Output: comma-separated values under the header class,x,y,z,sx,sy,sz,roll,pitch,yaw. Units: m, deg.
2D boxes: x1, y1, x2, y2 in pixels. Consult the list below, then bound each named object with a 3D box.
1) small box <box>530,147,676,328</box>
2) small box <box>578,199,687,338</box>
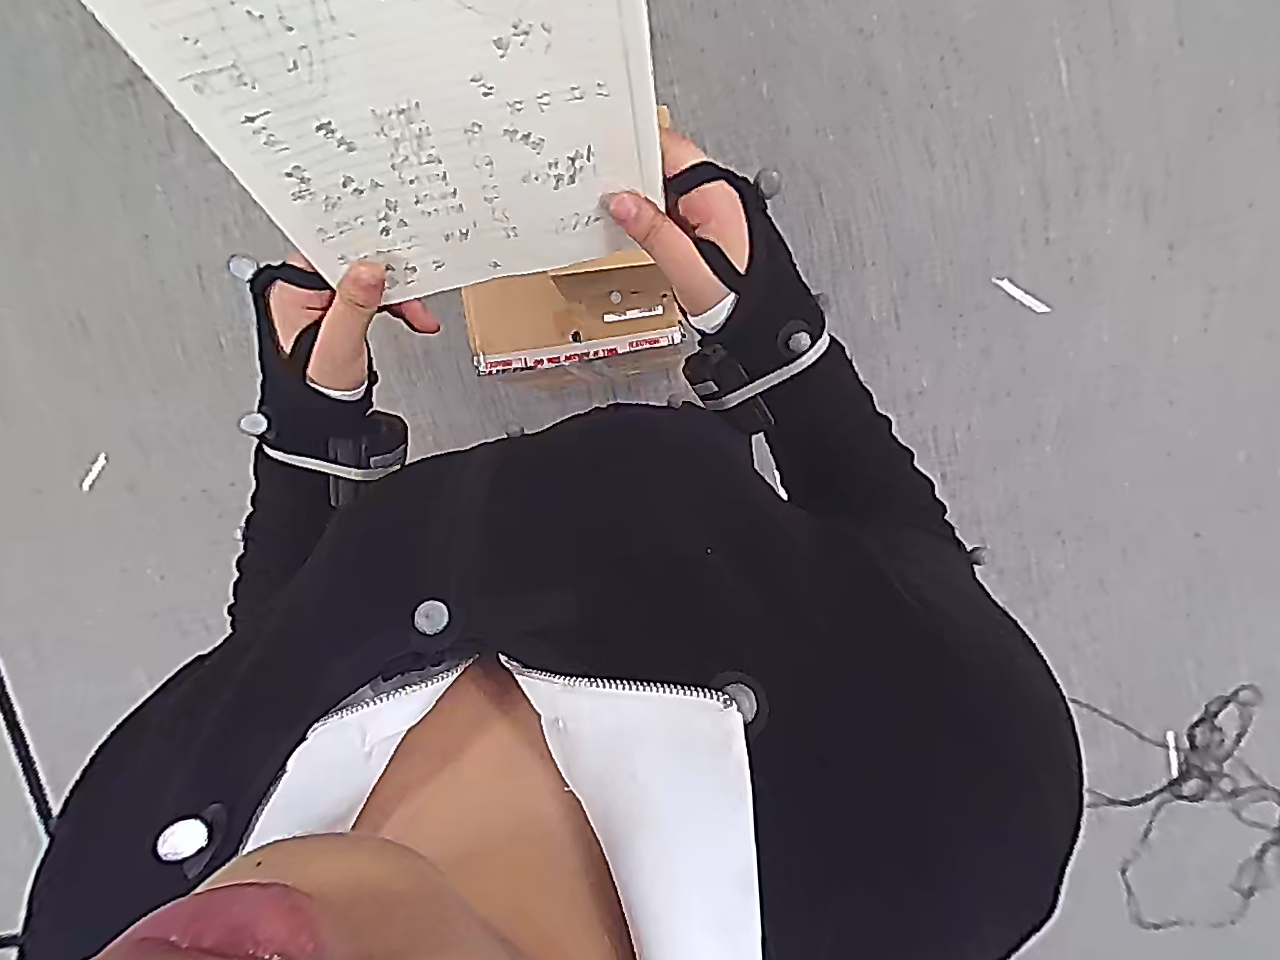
class,x,y,z,sx,sy,sz,roll,pitch,yaw
small box,-0.045,-0.314,0.733,0.168,0.176,0.179,-6,98,1
small box,-0.025,-0.340,0.895,0.179,0.176,0.168,-10,97,2
